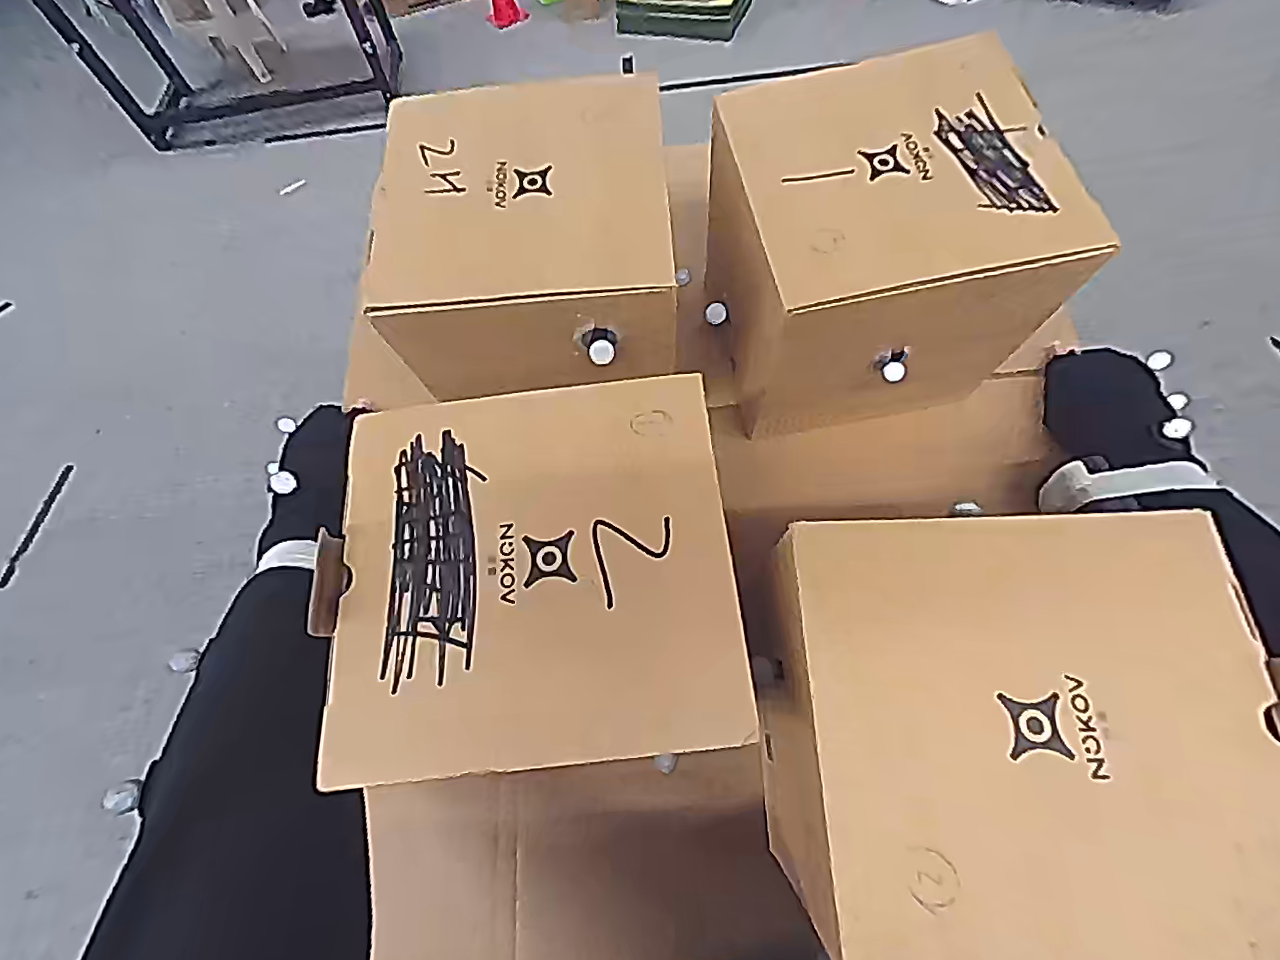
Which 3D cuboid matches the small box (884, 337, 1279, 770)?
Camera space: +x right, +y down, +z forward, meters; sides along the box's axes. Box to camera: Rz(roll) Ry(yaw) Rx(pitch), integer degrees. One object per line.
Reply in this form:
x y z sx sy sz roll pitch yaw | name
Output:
0.258 0.041 0.290 0.179 0.176 0.168 11 82 7 | small box
